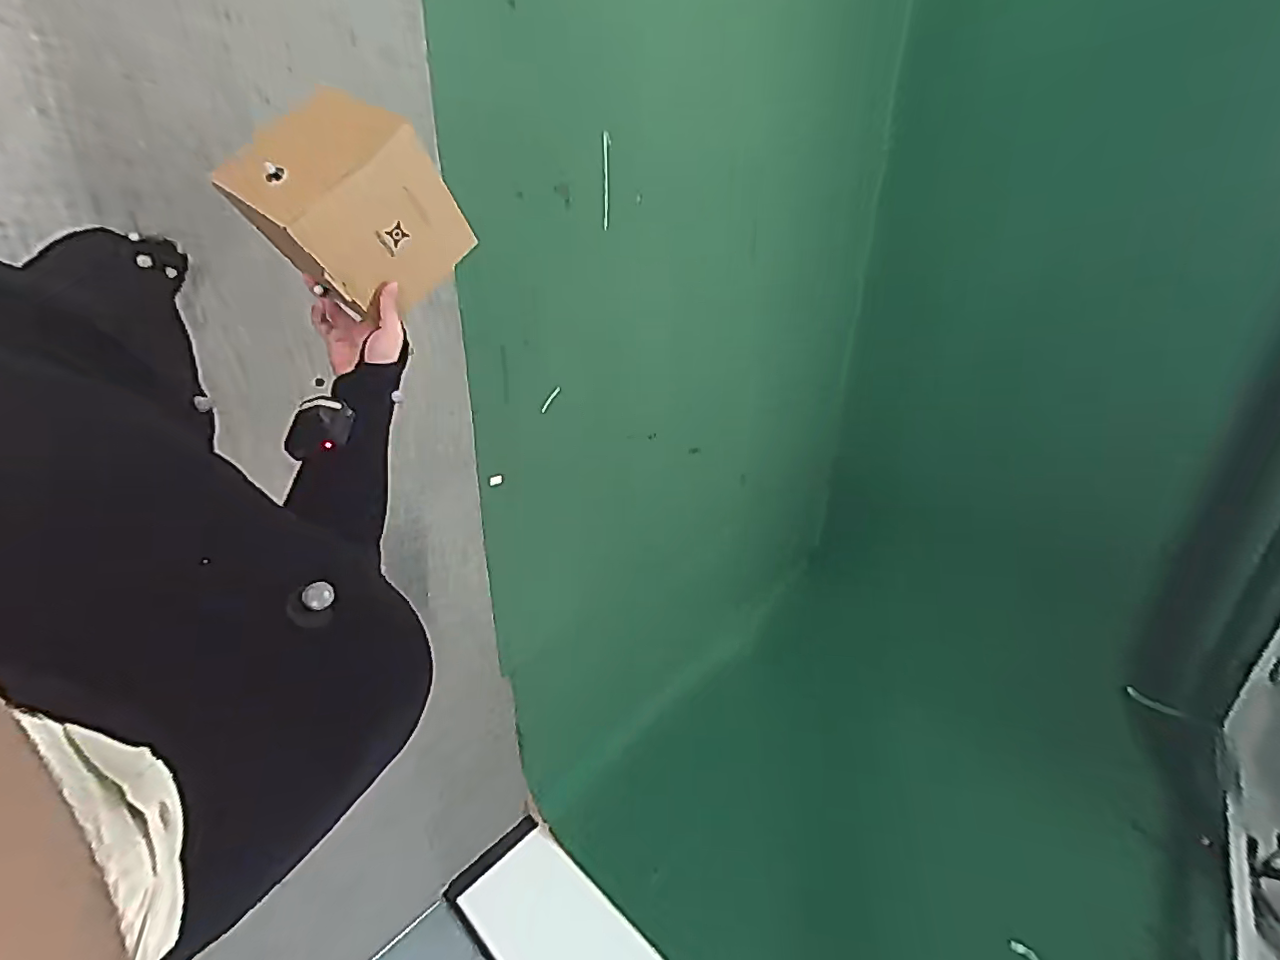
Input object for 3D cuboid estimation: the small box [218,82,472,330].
[{"bbox_3d":[-0.344,-0.319,0.636,0.179,0.176,0.168,-51,158,-12],"label":"small box"}]
